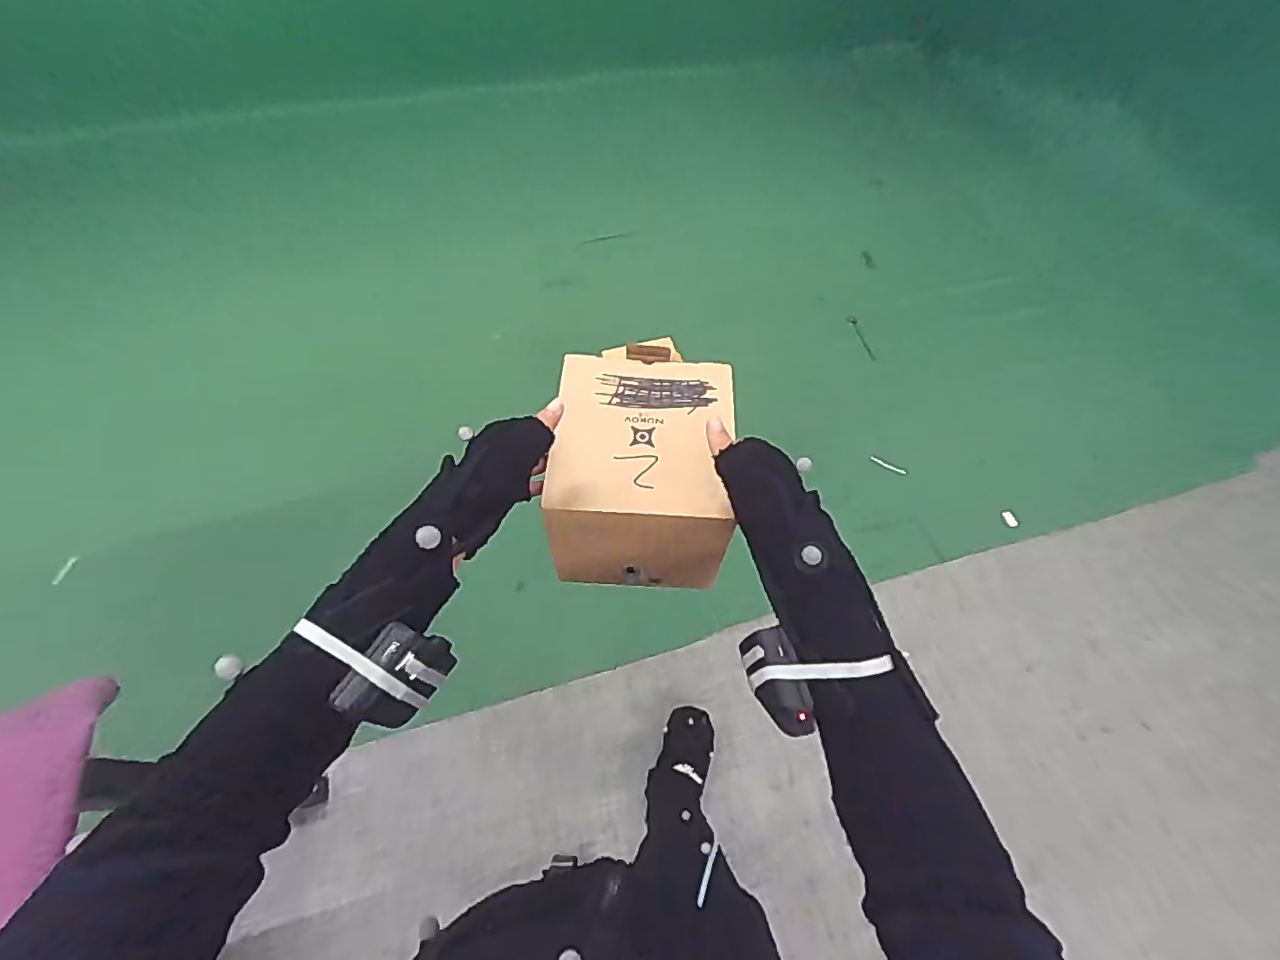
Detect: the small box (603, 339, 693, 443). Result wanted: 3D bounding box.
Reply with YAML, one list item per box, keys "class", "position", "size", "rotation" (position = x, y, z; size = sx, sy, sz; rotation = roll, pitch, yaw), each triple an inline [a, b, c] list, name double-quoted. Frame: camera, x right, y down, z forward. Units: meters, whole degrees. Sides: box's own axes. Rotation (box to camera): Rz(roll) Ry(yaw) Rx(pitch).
- class: "small box"
  position: [0.017, -0.213, 1.321]
  size: [0.179, 0.176, 0.168]
  rotation: [-14, 59, -10]

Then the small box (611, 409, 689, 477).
- class: "small box"
  position: [0.019, -0.128, 1.457]
  size: [0.179, 0.176, 0.168]
  rotation: [-12, 57, -9]

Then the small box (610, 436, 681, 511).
- class: "small box"
  position: [0.013, -0.036, 1.596]
  size: [0.168, 0.176, 0.179]
  rotation: [-14, 60, -9]
